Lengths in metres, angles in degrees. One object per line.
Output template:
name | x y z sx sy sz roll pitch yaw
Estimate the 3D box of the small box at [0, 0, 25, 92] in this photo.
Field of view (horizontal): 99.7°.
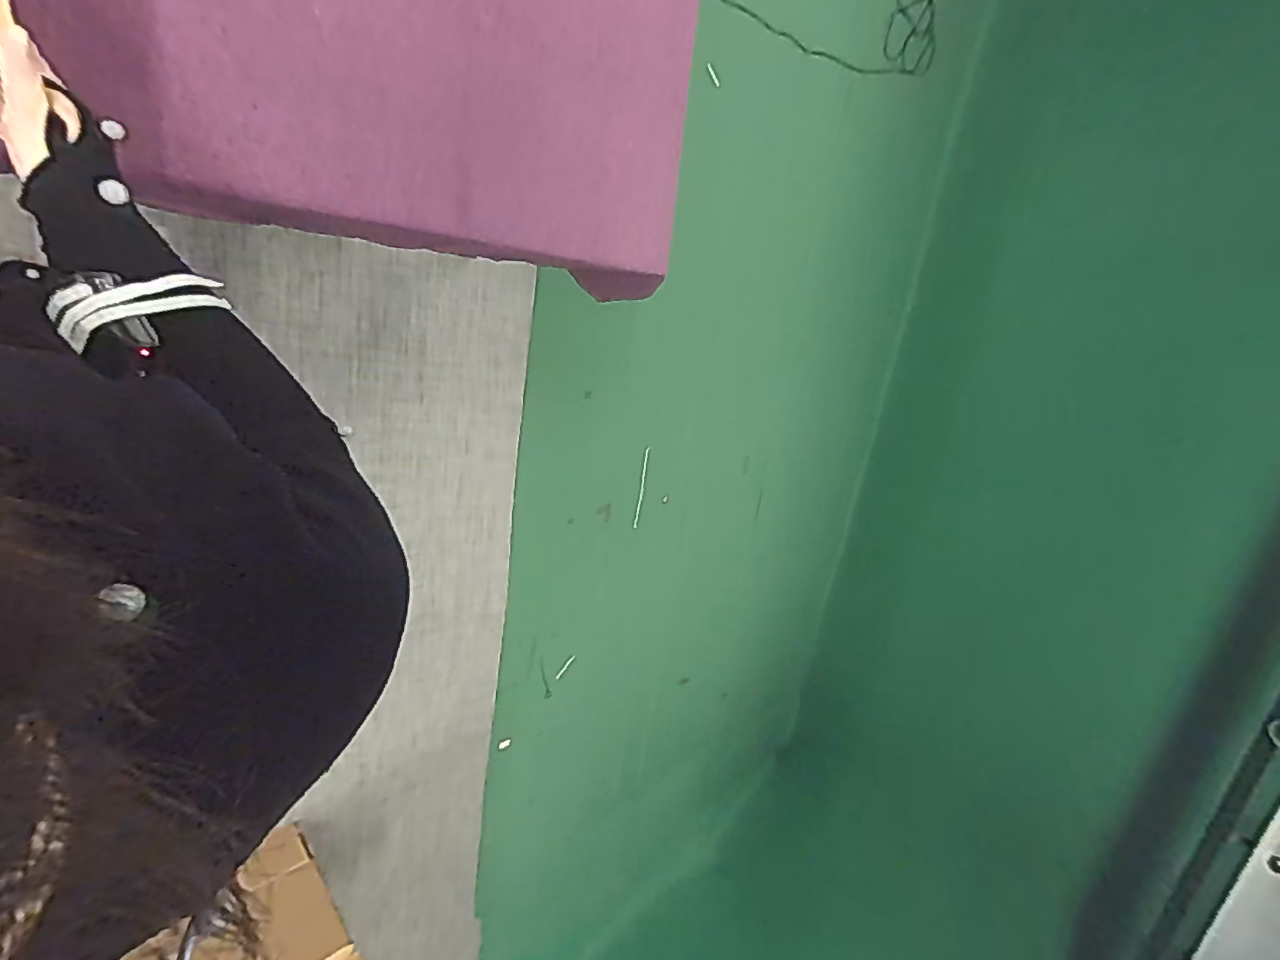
small box | -0.528 -0.376 0.338 0.168 0.176 0.179 -14 115 -44
